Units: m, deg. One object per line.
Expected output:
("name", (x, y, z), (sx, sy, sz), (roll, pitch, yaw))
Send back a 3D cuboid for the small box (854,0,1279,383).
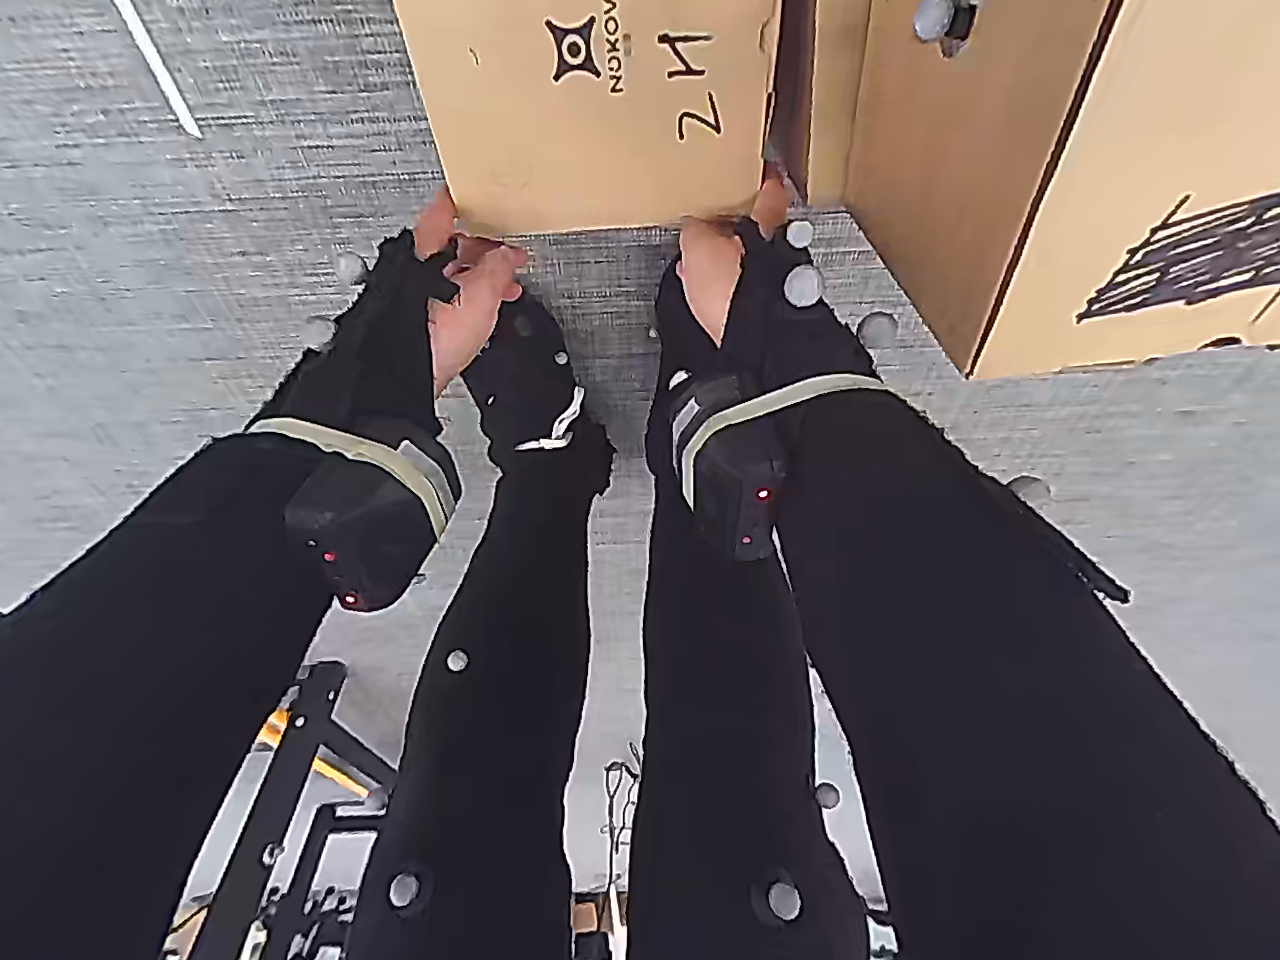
("small box", (0.186, -0.159, 0.184), (0.168, 0.176, 0.179), (-6, 136, 4))
